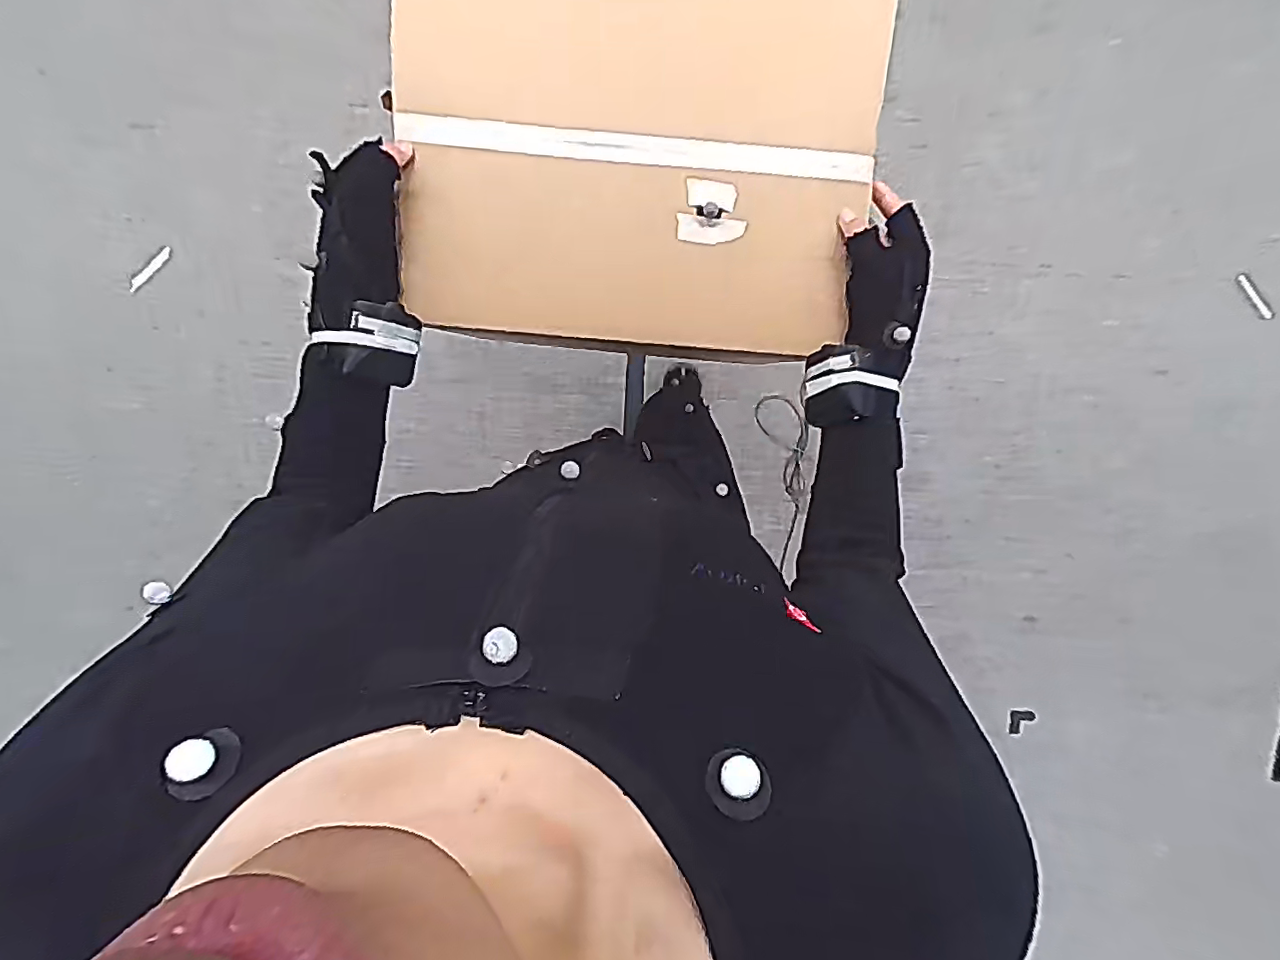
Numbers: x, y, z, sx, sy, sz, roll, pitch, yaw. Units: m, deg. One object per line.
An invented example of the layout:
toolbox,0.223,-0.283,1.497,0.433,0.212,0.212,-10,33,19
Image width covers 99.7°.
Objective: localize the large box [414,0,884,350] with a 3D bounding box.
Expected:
large box,-0.003,-0.324,0.623,0.408,0.320,0.320,4,102,-2
